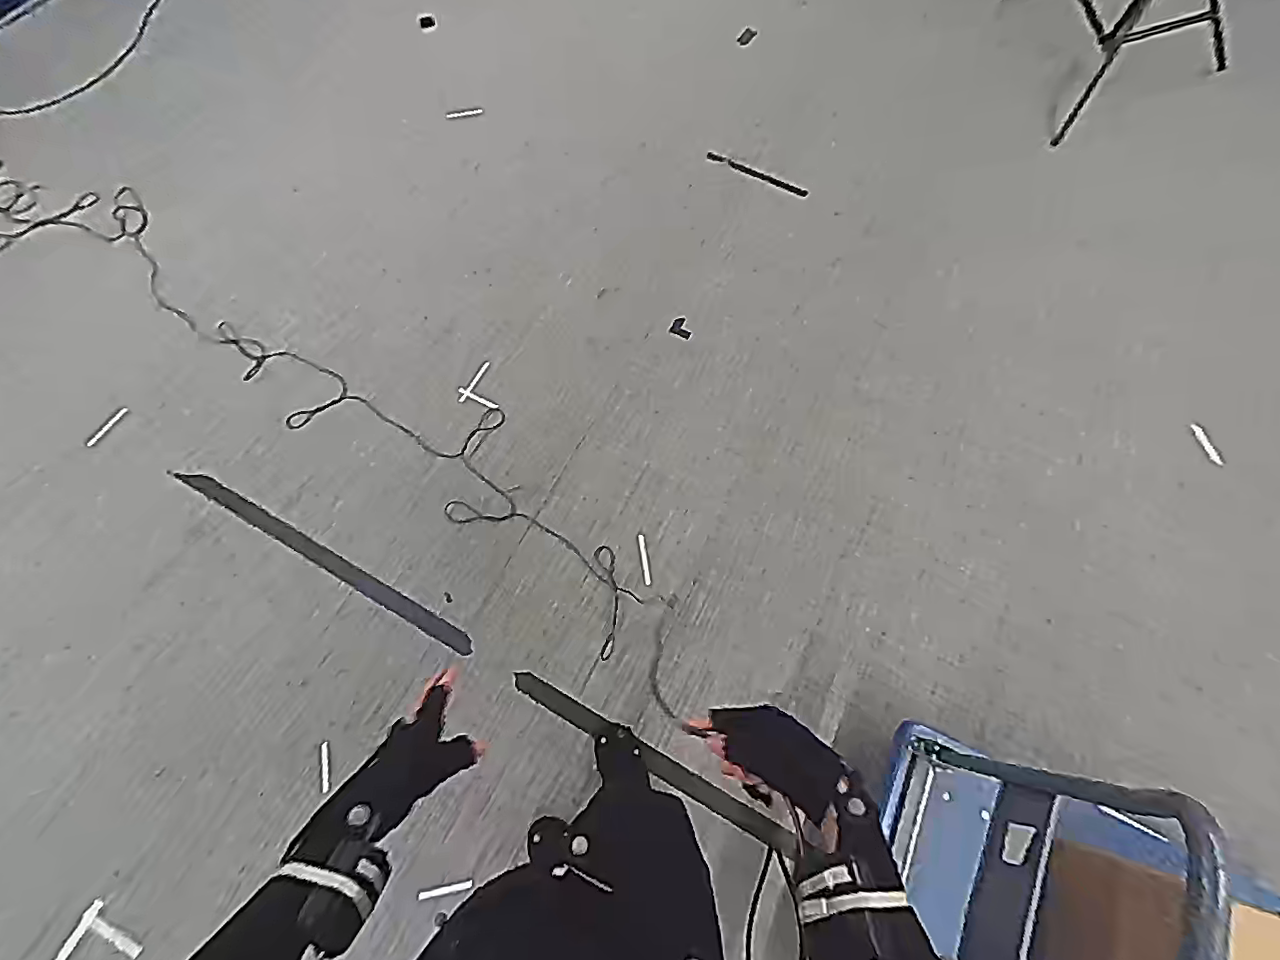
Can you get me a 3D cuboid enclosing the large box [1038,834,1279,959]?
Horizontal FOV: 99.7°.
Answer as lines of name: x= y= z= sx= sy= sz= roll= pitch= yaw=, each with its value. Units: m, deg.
large box: x=0.883 y=0.863 z=0.851 sx=0.320 sy=0.320 sz=0.408 roll=17 pitch=71 yaw=8
